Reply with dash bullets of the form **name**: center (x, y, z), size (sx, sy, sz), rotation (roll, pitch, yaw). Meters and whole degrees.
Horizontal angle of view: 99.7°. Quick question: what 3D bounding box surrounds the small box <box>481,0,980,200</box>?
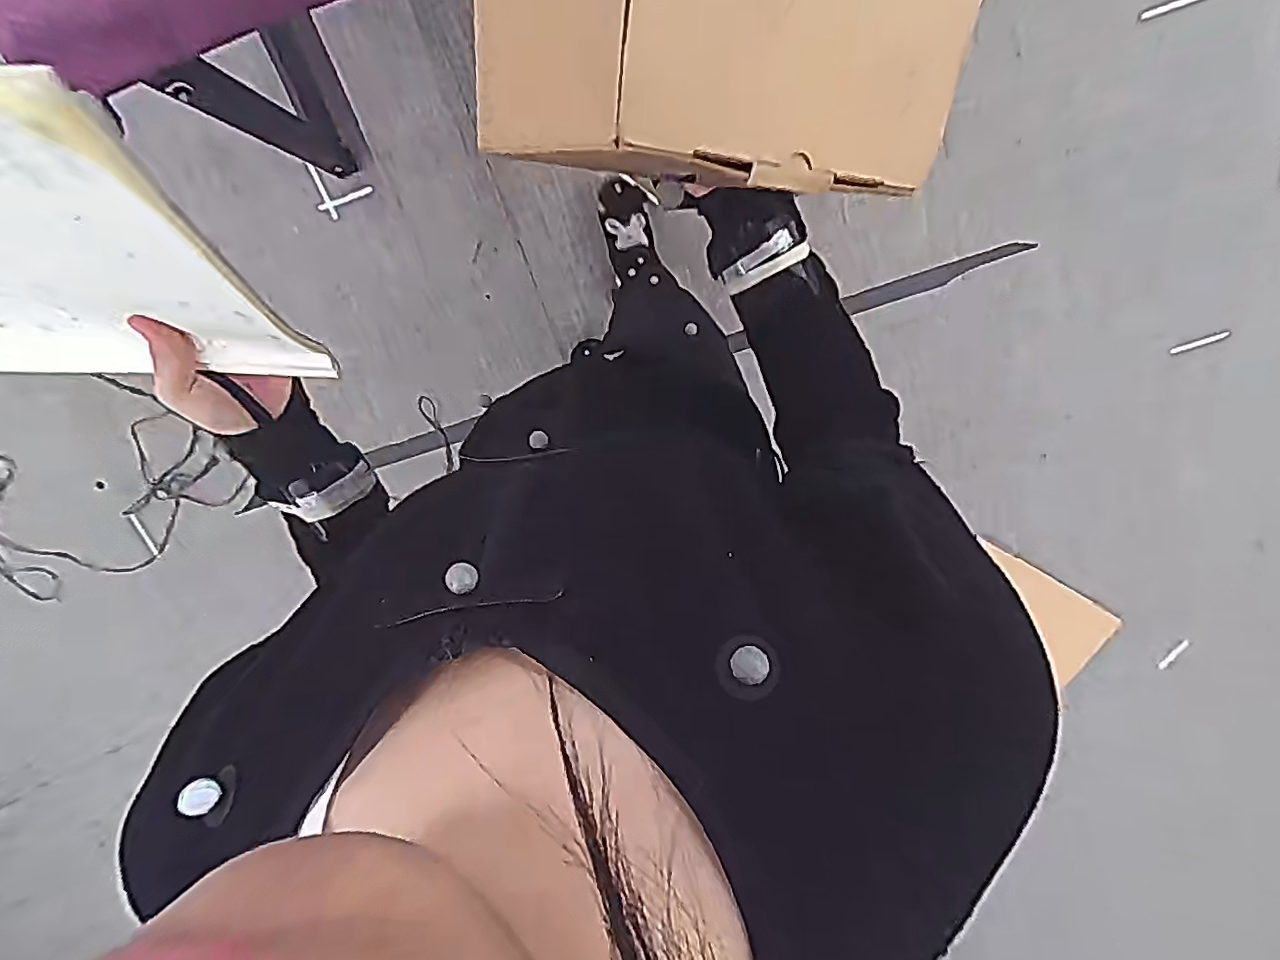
- **small box**: center (0.031, -0.235, 0.242), size (0.168, 0.176, 0.179), rotation (-10, 122, -29)
